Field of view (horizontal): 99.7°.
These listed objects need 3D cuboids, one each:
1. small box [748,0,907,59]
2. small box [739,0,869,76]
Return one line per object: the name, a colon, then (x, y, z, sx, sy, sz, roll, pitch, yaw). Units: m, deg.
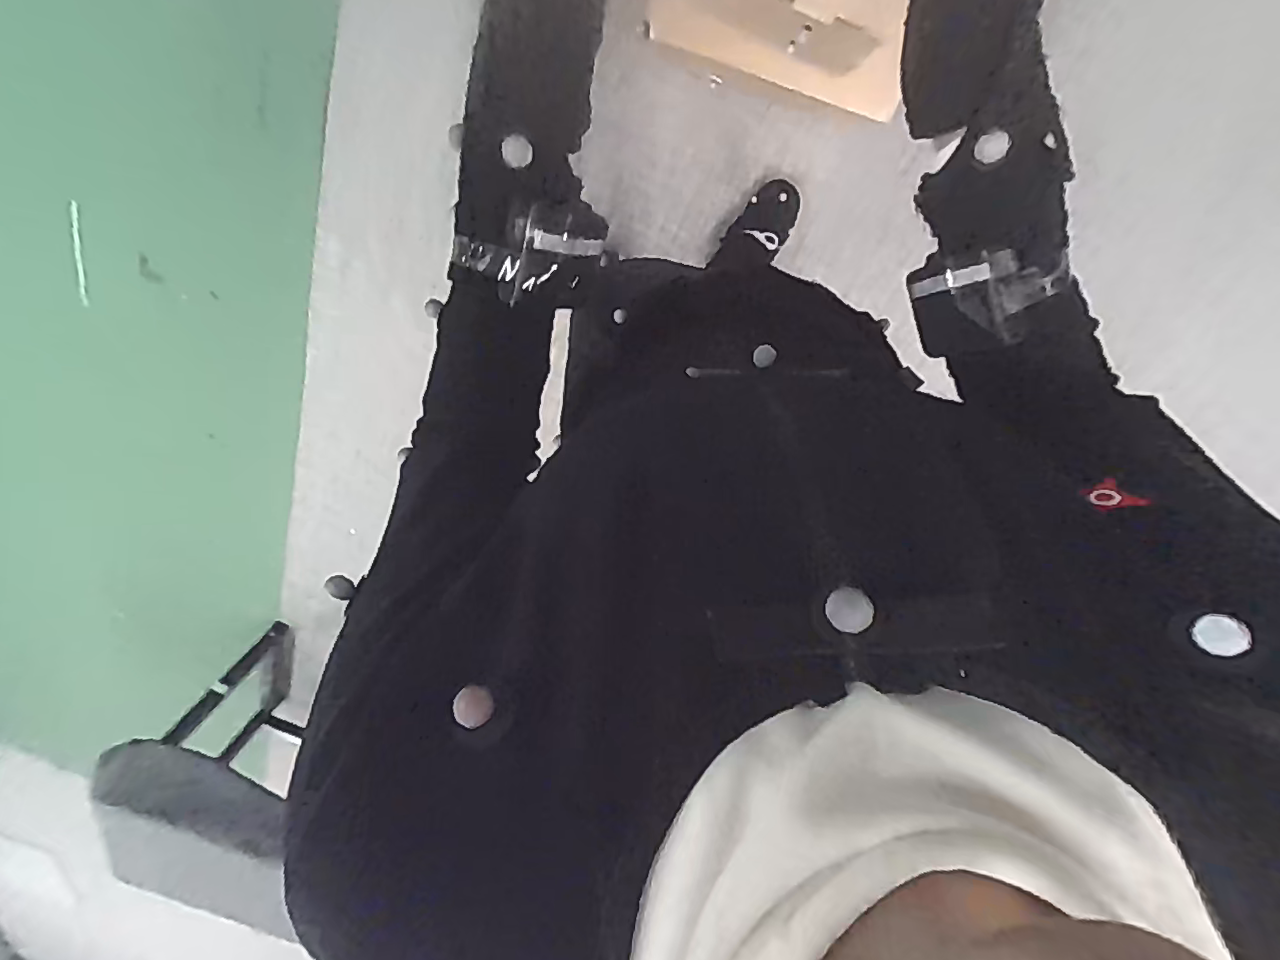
small box: (0.219, -0.578, 0.568, 0.168, 0.176, 0.179, 22, 123, -2)
small box: (0.243, -0.659, 0.708, 0.179, 0.176, 0.168, 21, 123, -4)
